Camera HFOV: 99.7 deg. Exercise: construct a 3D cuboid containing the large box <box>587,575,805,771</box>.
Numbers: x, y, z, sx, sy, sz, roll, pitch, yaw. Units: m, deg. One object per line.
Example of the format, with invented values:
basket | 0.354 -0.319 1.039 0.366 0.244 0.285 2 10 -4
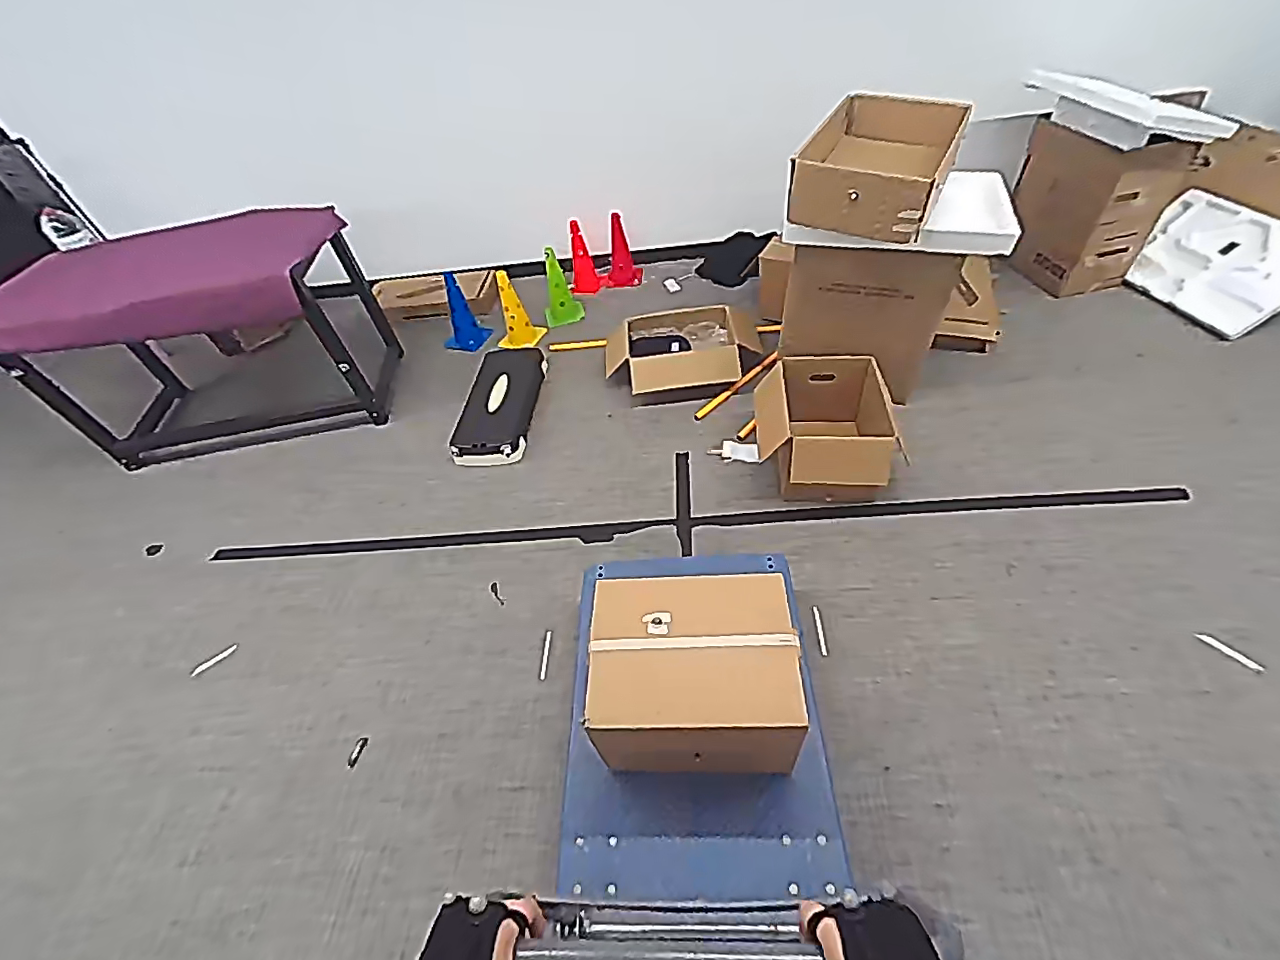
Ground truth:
large box | 0.120 0.433 1.189 0.408 0.320 0.320 -4 47 6
